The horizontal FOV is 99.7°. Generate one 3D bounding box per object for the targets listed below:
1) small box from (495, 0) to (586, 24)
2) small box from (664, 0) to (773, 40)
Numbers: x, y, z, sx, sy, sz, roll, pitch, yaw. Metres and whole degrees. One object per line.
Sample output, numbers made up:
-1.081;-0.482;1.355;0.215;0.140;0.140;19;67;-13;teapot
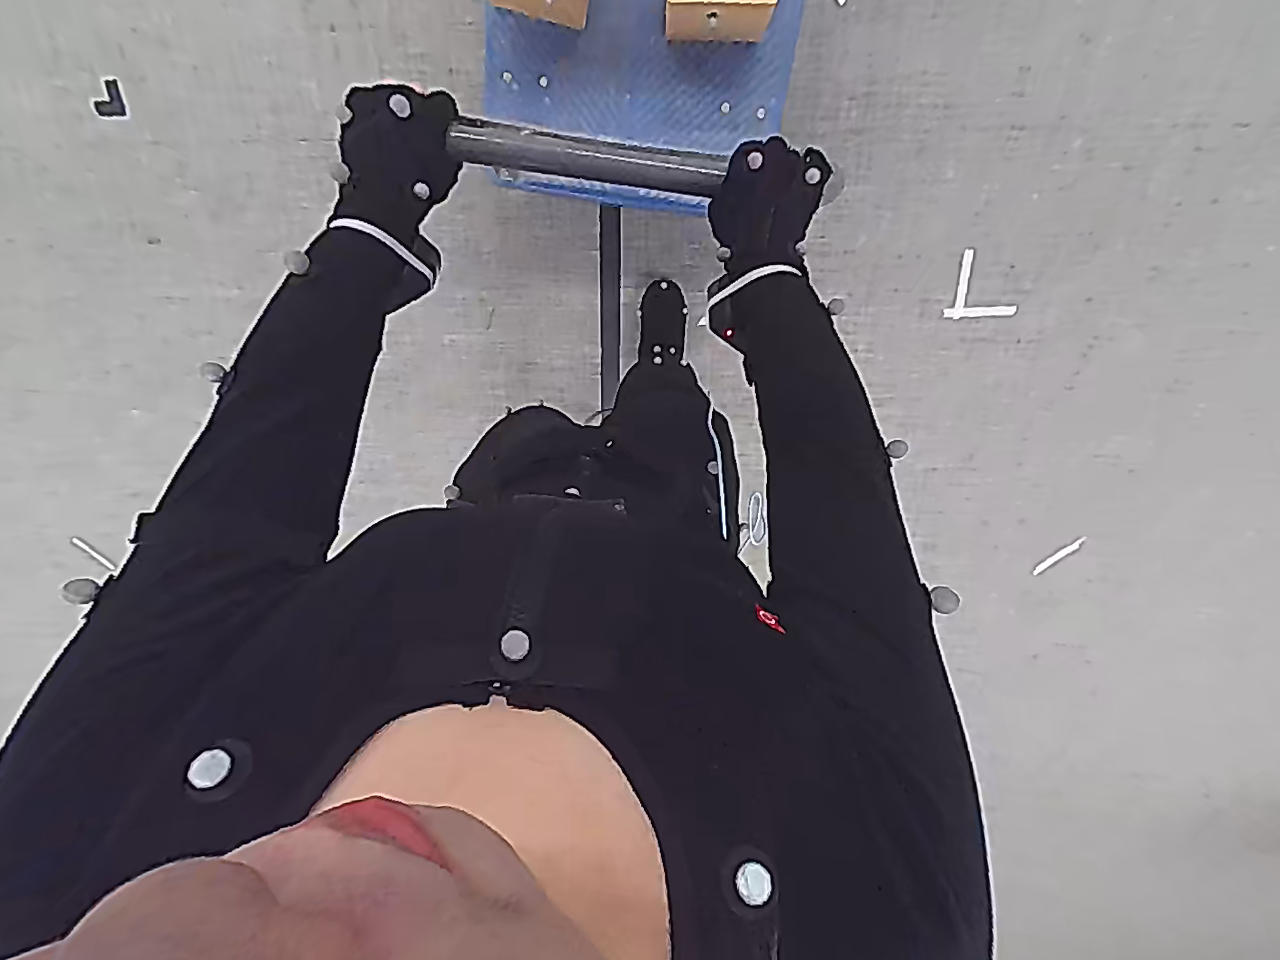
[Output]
-0.174;-0.895;0.887;0.179;0.176;0.168;12;113;-5;small box
0.131;-0.858;0.894;0.179;0.176;0.168;3;114;1;small box
